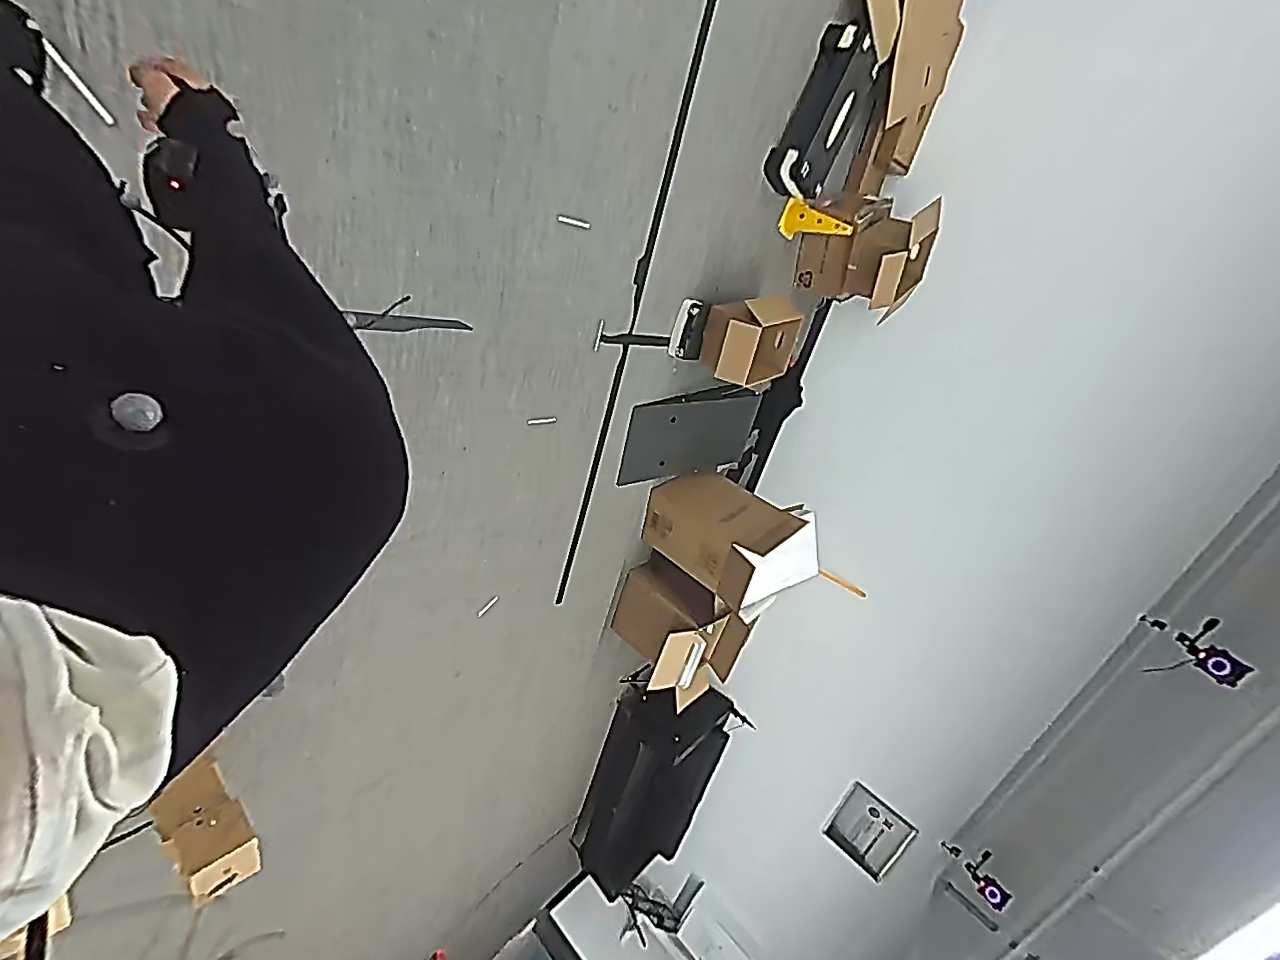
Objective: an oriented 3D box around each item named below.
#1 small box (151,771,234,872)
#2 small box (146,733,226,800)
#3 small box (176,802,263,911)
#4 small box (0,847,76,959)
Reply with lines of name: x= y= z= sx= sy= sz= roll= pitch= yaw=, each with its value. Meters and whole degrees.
small box: x=-1.402 y=1.074 z=1.715 sx=0.179 sy=0.176 sz=0.168 roll=-21 pitch=134 yaw=-45
small box: x=-1.511 y=0.991 z=1.806 sx=0.168 sy=0.176 sz=0.179 roll=-20 pitch=133 yaw=-46
small box: x=-1.268 y=1.127 z=1.632 sx=0.168 sy=0.176 sz=0.179 roll=-18 pitch=131 yaw=-49
small box: x=-1.641 y=1.131 z=1.433 sx=0.179 sy=0.176 sz=0.168 roll=-8 pitch=125 yaw=-51
